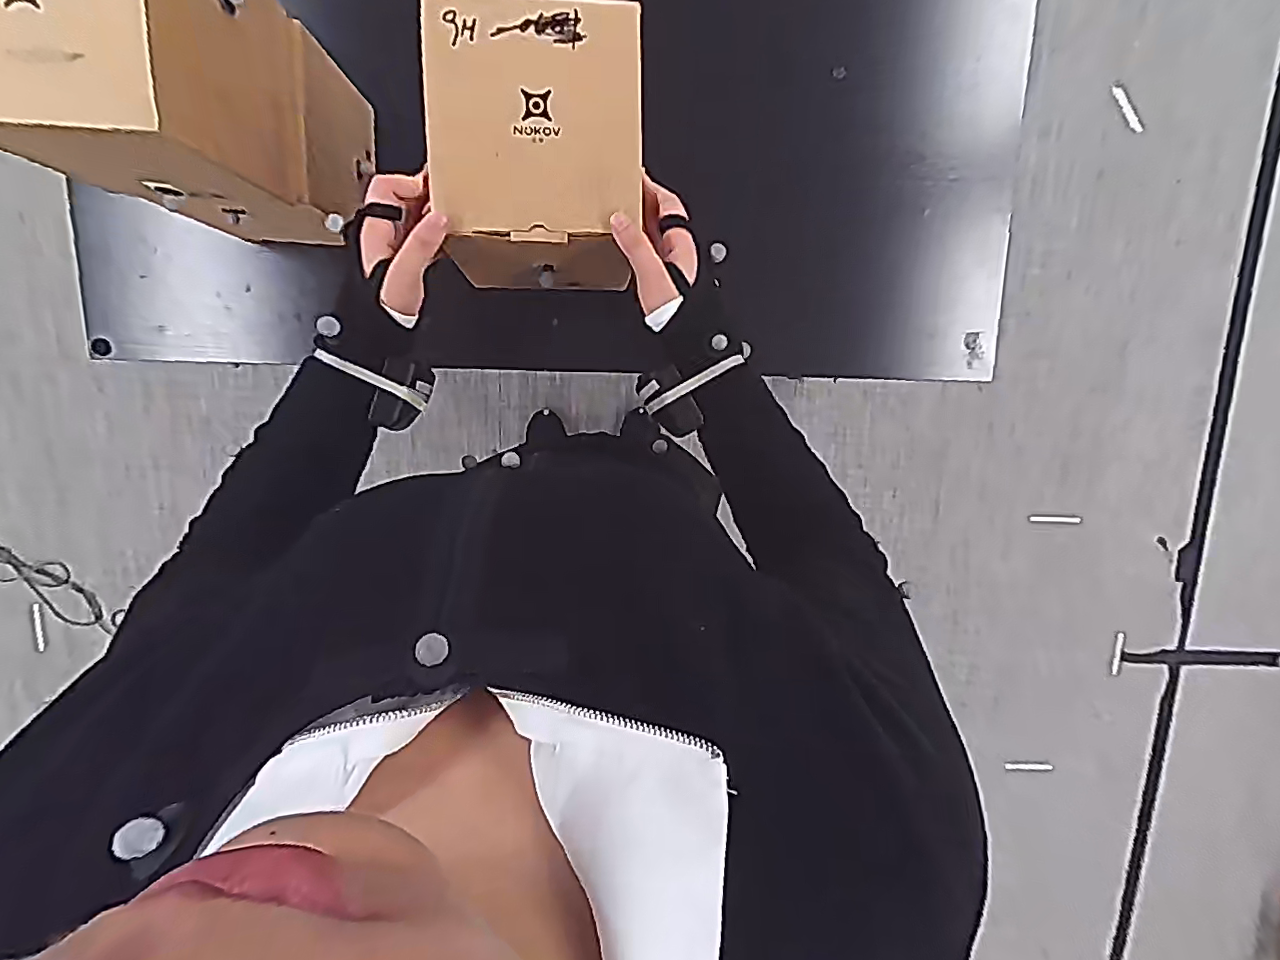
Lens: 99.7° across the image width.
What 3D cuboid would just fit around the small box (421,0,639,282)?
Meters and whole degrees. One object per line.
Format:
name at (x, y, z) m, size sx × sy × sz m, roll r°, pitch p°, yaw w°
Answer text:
small box at (-0.088, -0.288, 0.496) m, size 0.168 × 0.176 × 0.179 m, roll -1°, pitch 97°, yaw -5°

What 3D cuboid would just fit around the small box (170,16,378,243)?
small box at (-0.415, -0.373, 0.599) m, size 0.179 × 0.176 × 0.168 m, roll 2°, pitch 99°, yaw -4°

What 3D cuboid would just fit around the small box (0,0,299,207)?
small box at (-0.410, -0.346, 0.439) m, size 0.168 × 0.176 × 0.179 m, roll 2°, pitch 100°, yaw -2°
